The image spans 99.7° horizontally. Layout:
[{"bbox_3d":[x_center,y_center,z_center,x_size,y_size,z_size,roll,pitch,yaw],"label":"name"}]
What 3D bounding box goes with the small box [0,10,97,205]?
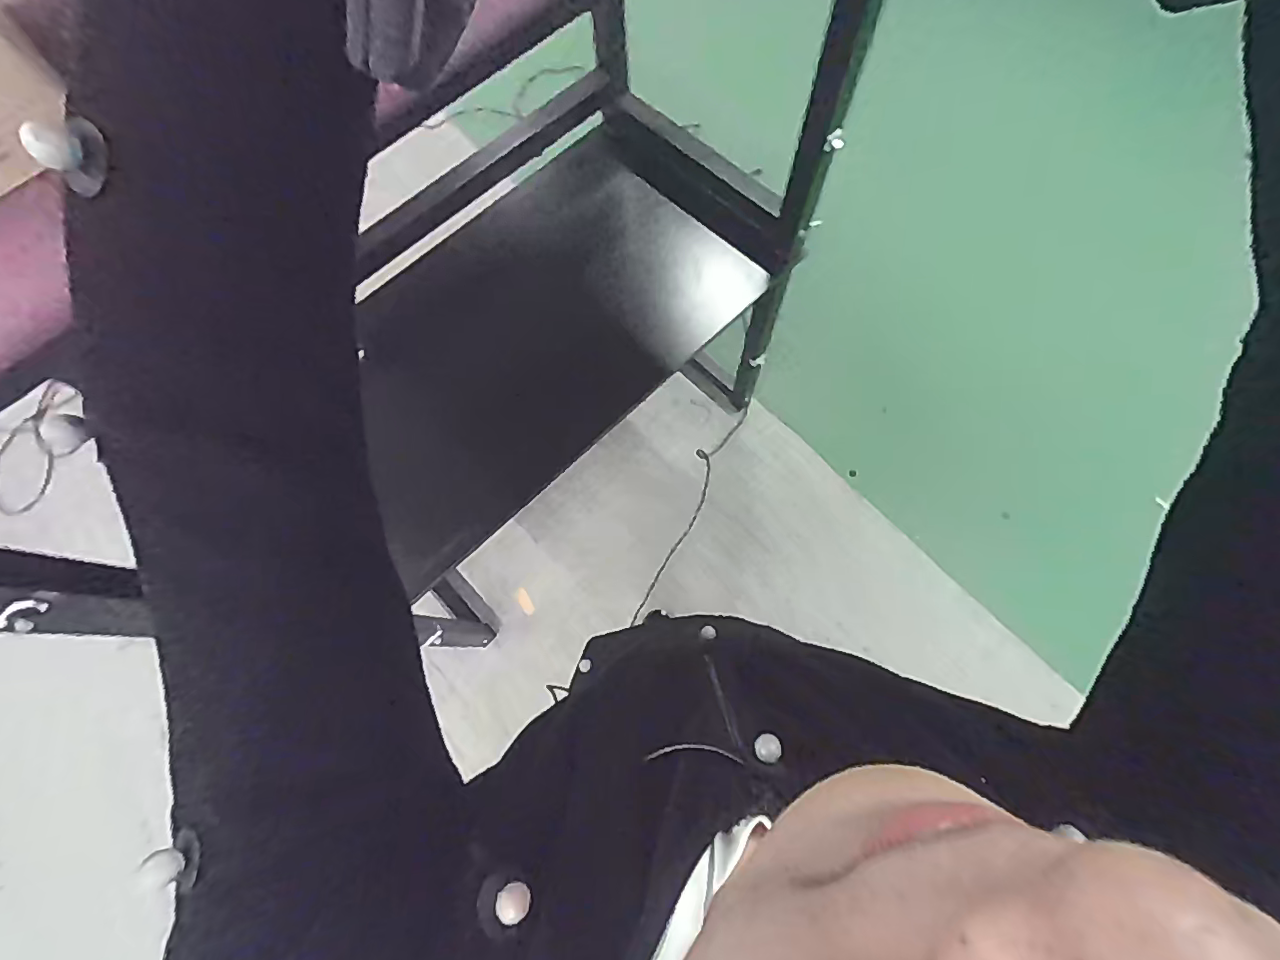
[{"bbox_3d":[-0.438,-0.233,0.254,0.168,0.176,0.179,-43,75,-11],"label":"small box"}]
